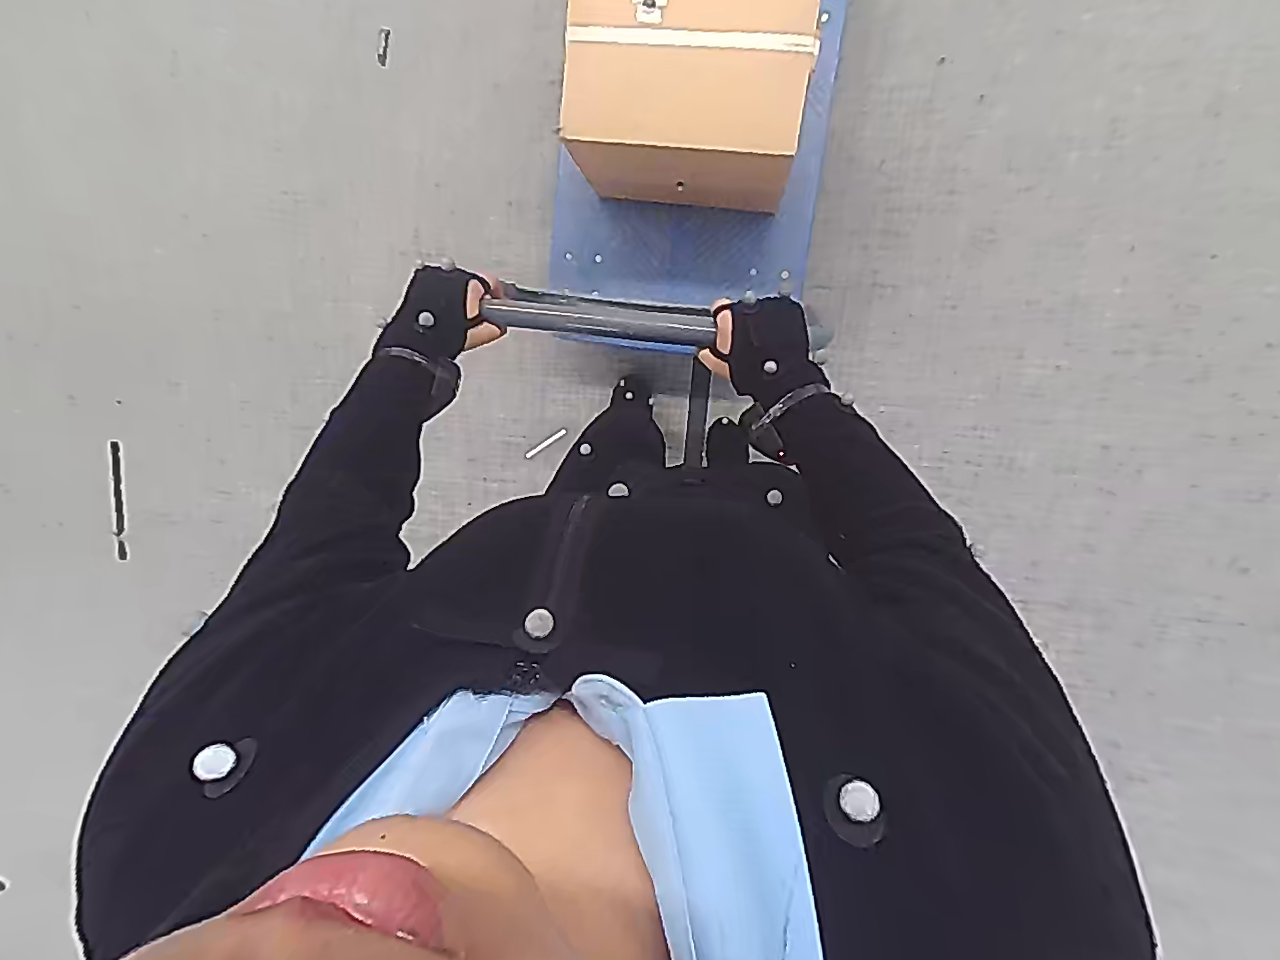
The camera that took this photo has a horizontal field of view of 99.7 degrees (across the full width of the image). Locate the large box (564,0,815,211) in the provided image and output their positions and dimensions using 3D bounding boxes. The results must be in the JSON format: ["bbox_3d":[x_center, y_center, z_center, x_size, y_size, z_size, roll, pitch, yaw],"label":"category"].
[{"bbox_3d":[0.100,-0.736,1.044,0.408,0.320,0.320,8,100,8],"label":"large box"}]
